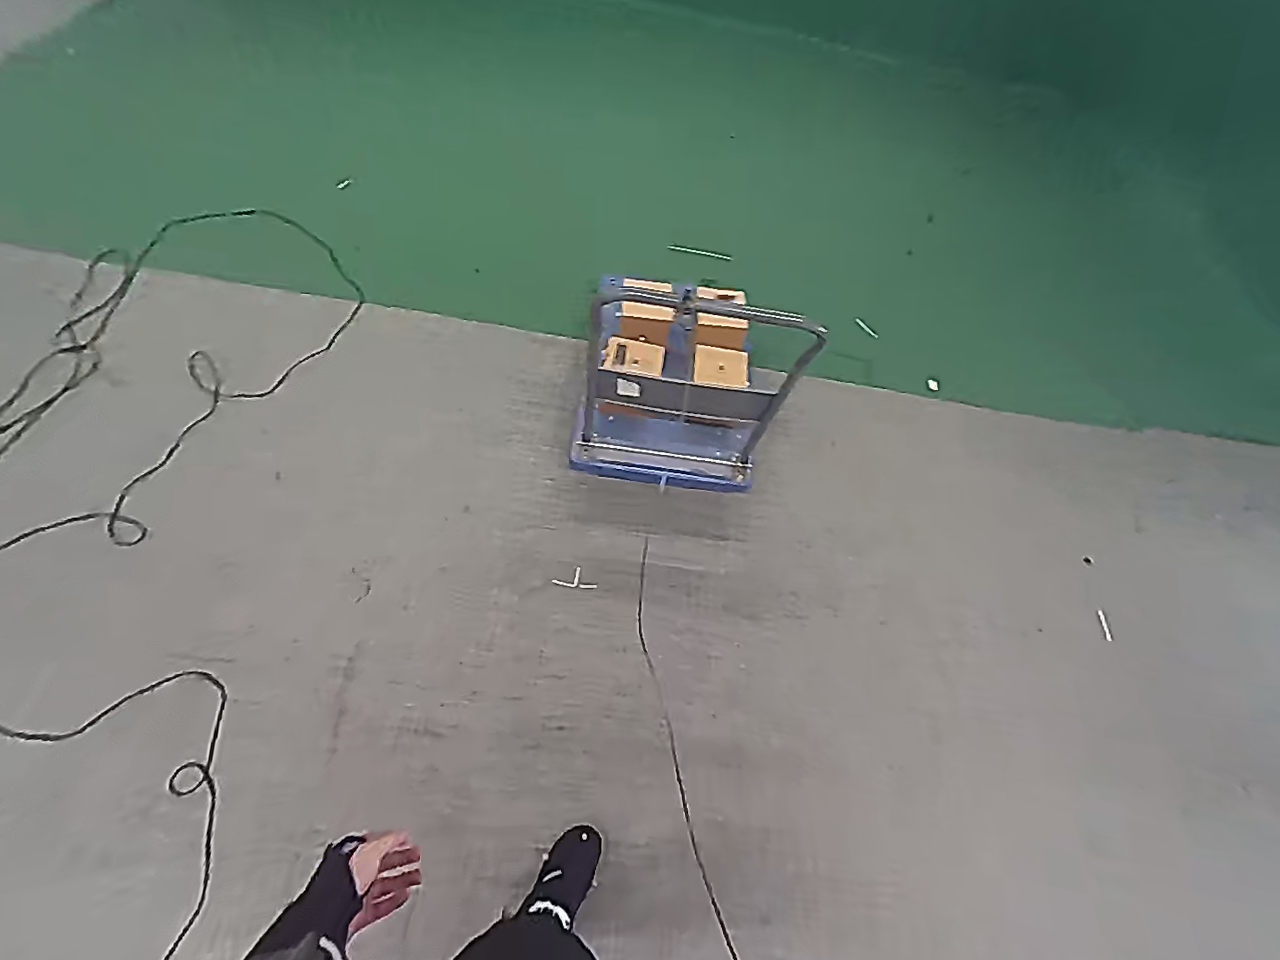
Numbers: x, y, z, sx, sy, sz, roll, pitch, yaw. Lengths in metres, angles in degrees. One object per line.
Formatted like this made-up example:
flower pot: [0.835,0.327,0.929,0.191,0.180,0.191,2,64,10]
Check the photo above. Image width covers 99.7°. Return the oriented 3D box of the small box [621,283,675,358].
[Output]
small box: [0.025,-0.541,1.851,0.168,0.176,0.179,5,60,-6]

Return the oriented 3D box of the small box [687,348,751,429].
small box: [0.251,-0.290,1.736,0.168,0.176,0.179,9,60,-3]

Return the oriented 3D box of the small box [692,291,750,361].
small box: [0.275,-0.522,1.873,0.168,0.176,0.179,4,61,-4]
